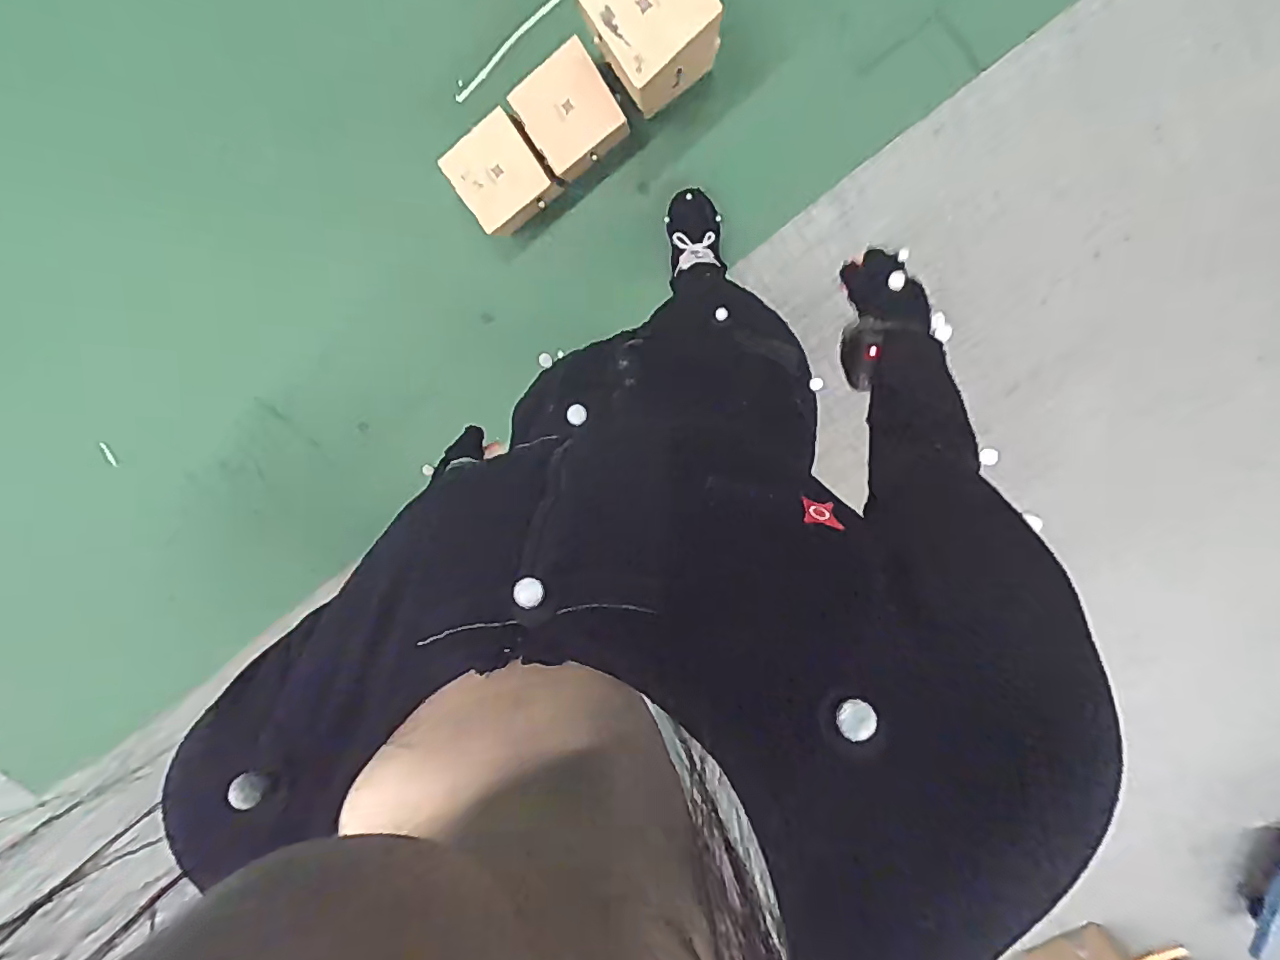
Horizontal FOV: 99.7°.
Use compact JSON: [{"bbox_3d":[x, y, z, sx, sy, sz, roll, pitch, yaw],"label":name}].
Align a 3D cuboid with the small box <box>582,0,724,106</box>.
[{"bbox_3d":[0.019,-0.786,0.921,0.179,0.176,0.168,-34,109,16],"label":"small box"}]
